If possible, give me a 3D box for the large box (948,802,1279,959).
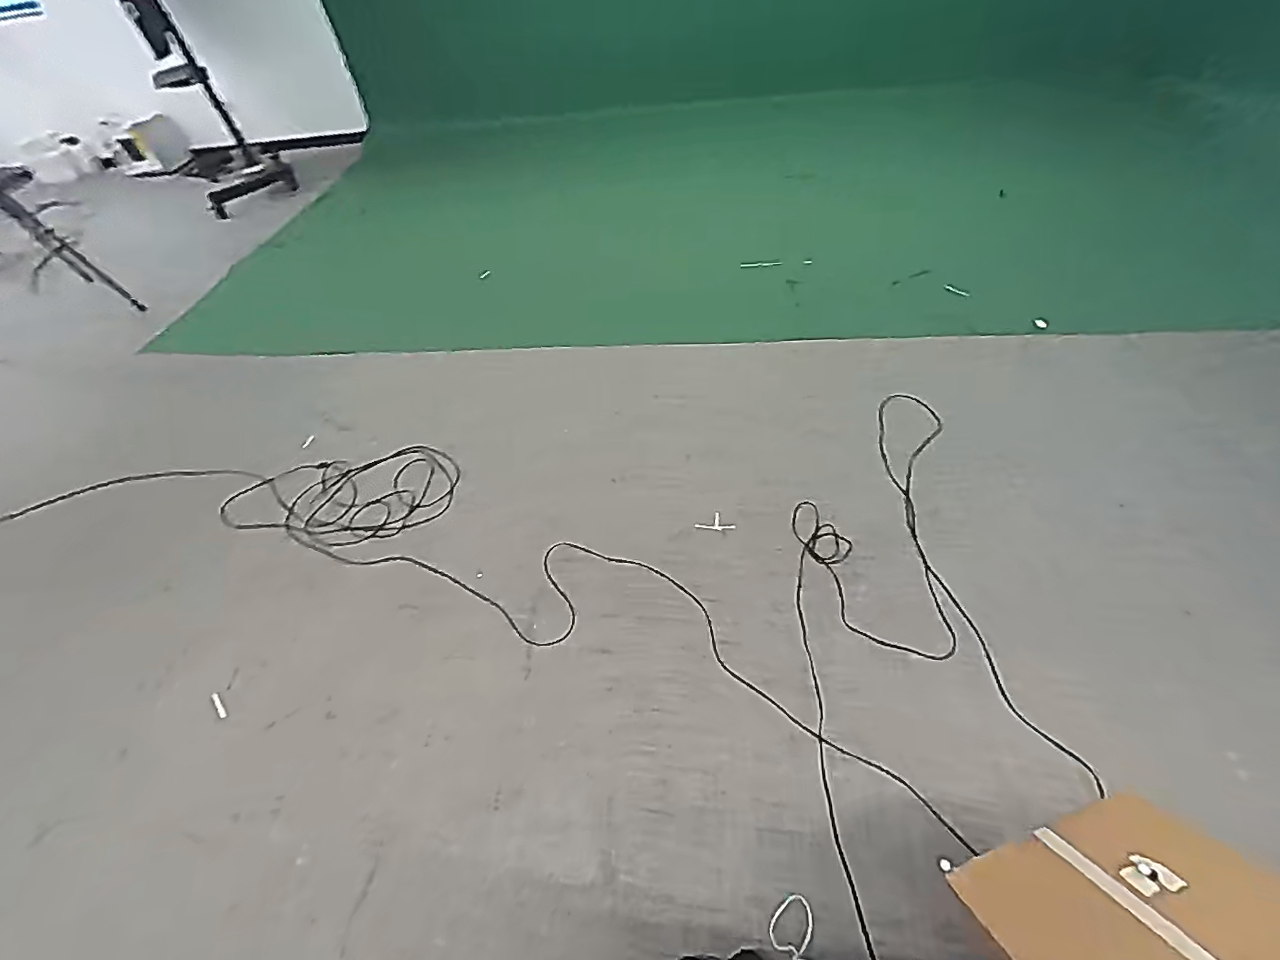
[{"bbox_3d":[0.653,0.662,0.597,0.320,0.408,0.320,-22,86,-1],"label":"large box"}]
